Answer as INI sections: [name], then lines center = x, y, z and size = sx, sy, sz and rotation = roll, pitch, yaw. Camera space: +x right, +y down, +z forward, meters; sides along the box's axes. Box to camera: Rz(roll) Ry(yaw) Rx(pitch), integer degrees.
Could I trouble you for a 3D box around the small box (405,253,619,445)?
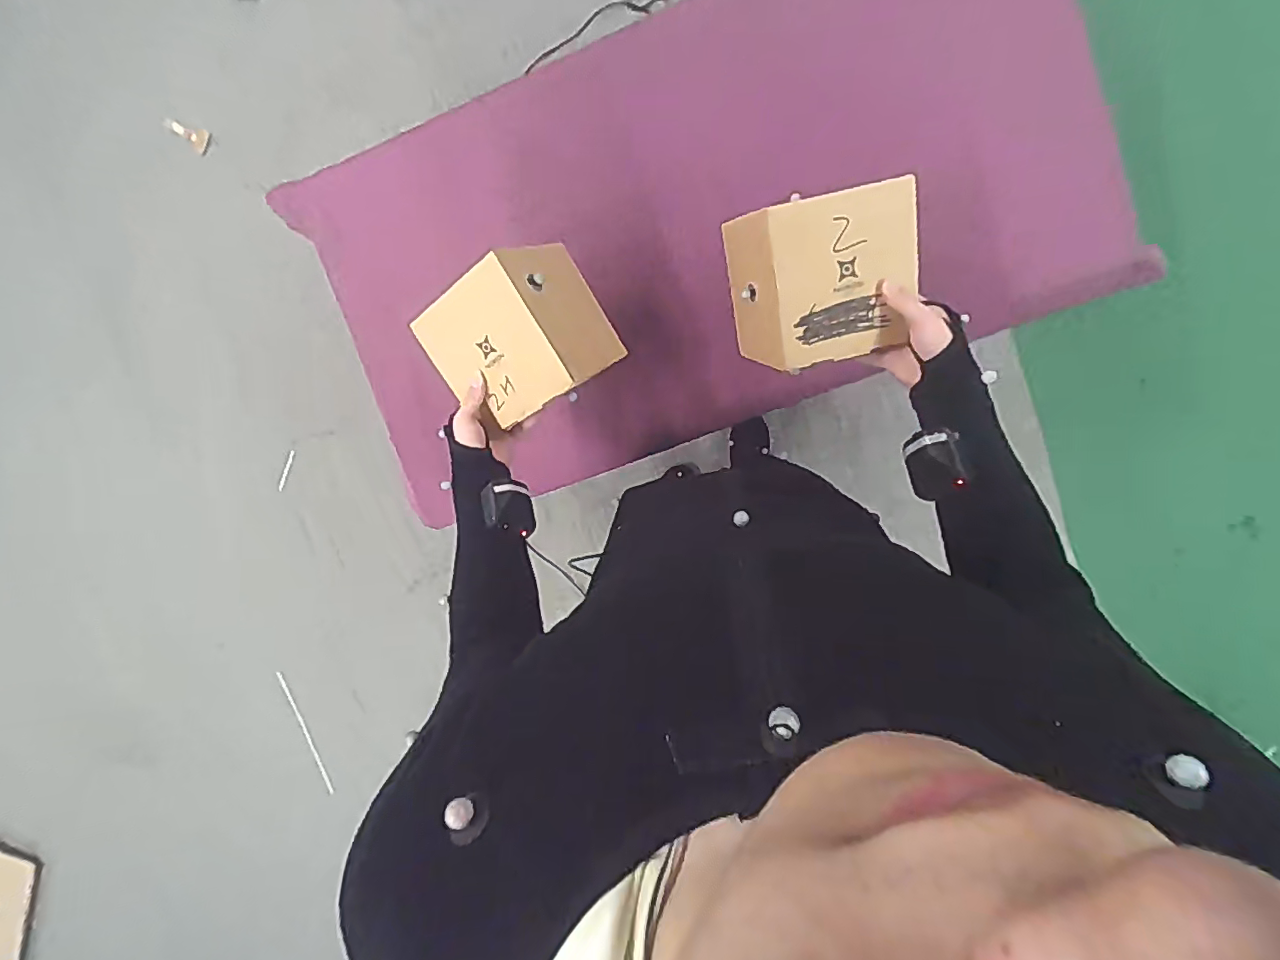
[small box]
center = -0.158, -0.177, 0.713
size = 0.168, 0.176, 0.179
rotation = -25, 103, 30
